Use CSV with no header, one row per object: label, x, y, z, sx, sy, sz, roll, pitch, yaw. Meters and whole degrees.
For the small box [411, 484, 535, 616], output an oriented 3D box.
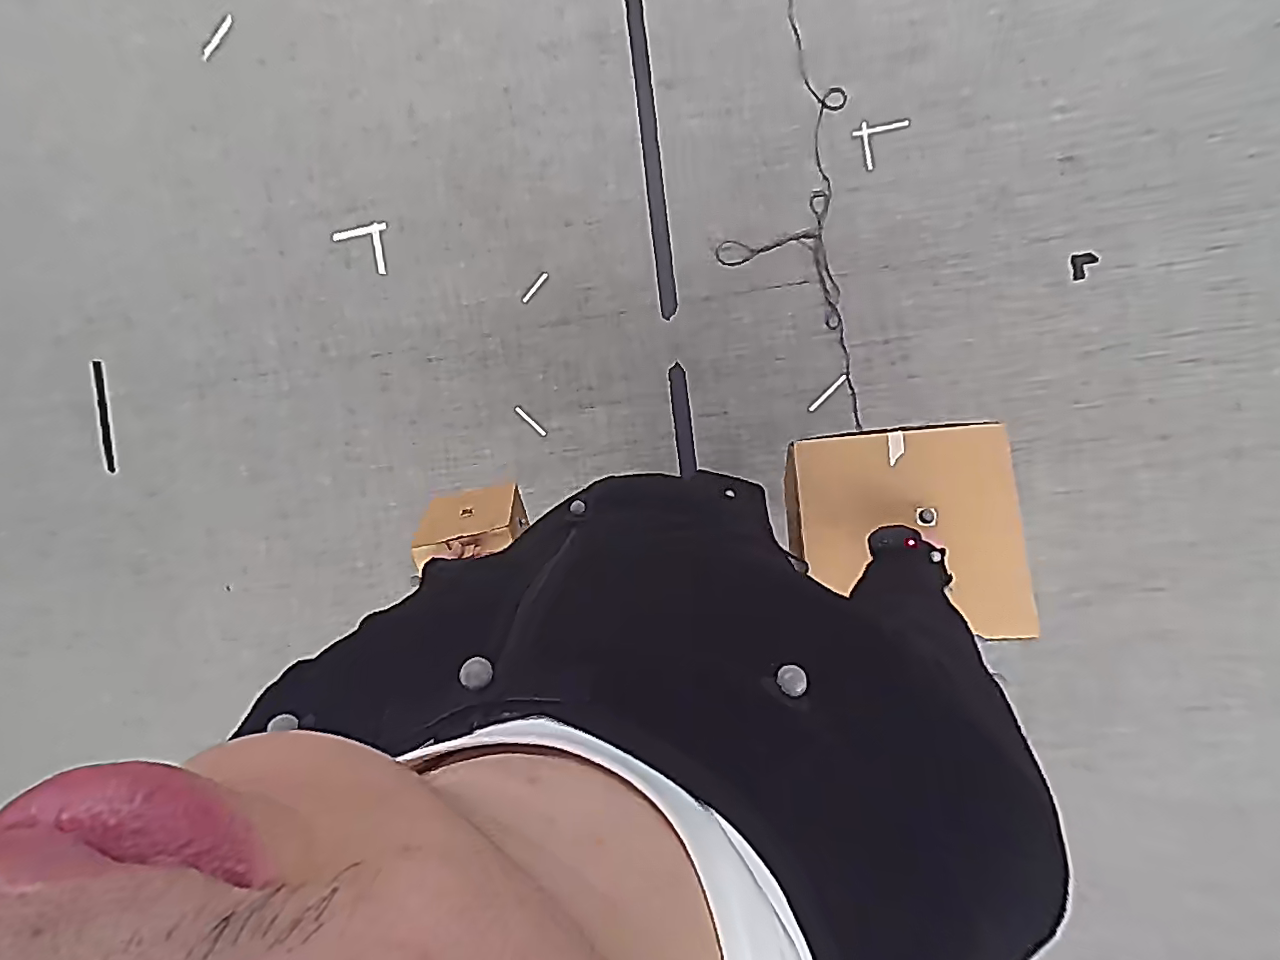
small box,-0.295,0.132,0.999,0.168,0.179,0.176,-12,116,-4
